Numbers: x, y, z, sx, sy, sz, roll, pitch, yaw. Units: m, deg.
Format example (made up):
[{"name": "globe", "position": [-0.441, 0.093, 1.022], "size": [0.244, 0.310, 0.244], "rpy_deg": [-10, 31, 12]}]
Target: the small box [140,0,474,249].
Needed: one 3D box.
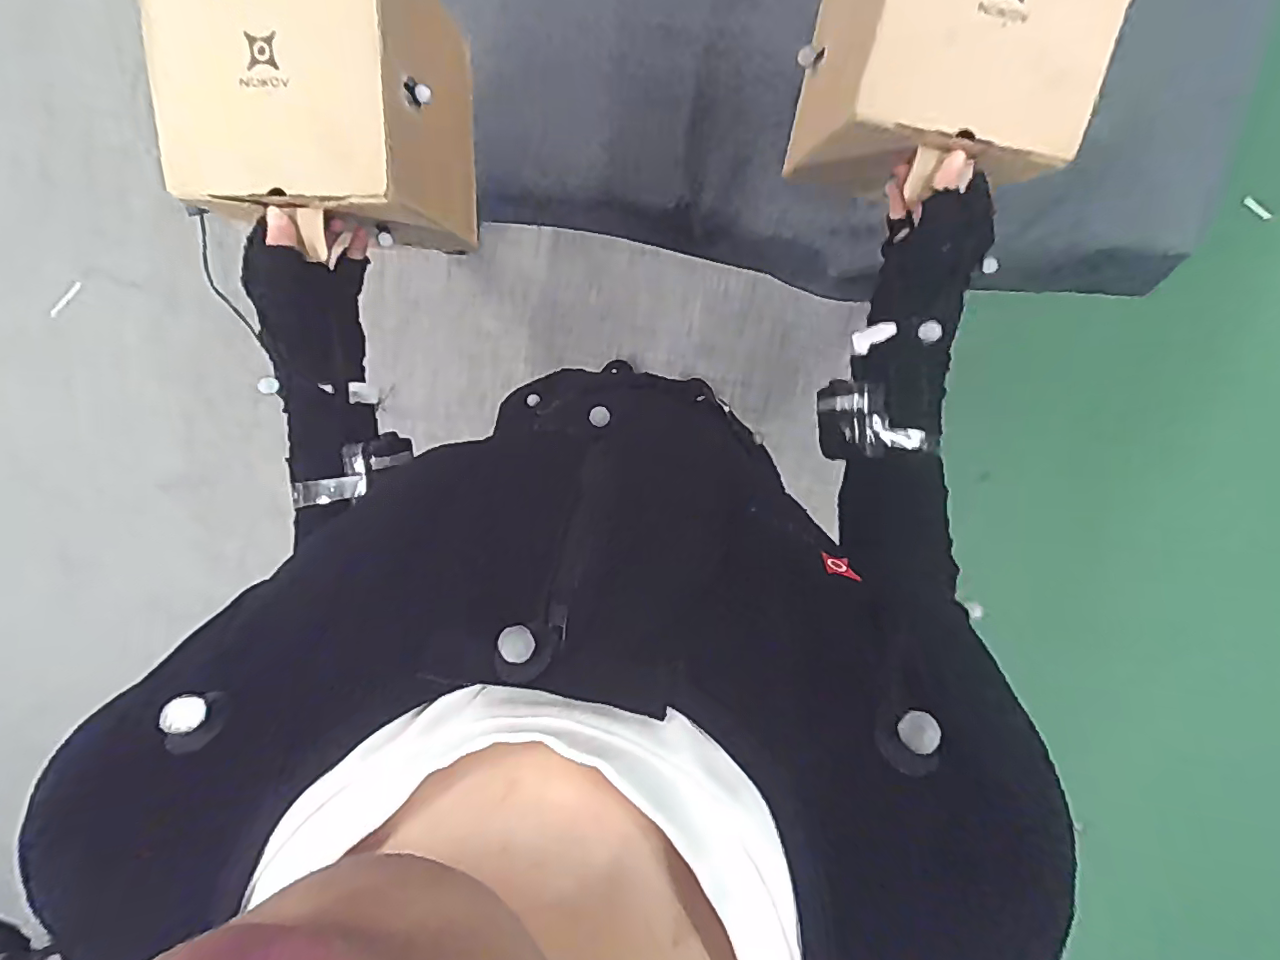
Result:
[{"name": "small box", "position": [-0.242, -0.294, 0.436], "size": [0.168, 0.176, 0.179], "rpy_deg": [2, 101, 3]}]
